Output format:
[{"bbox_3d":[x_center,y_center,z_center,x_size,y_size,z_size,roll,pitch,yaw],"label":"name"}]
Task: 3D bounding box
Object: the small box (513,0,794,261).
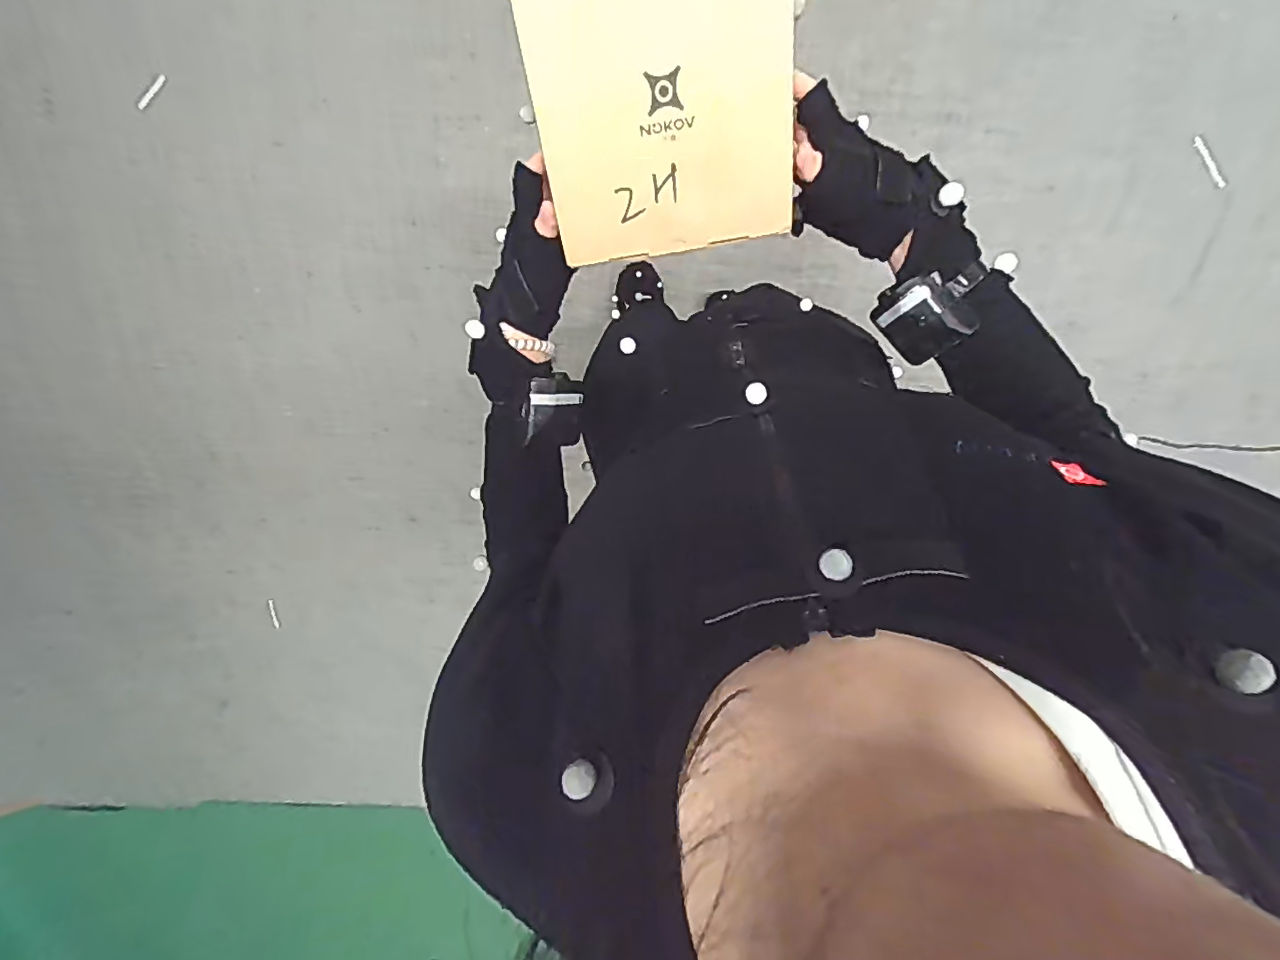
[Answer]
[{"bbox_3d":[0.011,-0.281,0.404,0.168,0.176,0.179,-7,123,3],"label":"small box"}]
